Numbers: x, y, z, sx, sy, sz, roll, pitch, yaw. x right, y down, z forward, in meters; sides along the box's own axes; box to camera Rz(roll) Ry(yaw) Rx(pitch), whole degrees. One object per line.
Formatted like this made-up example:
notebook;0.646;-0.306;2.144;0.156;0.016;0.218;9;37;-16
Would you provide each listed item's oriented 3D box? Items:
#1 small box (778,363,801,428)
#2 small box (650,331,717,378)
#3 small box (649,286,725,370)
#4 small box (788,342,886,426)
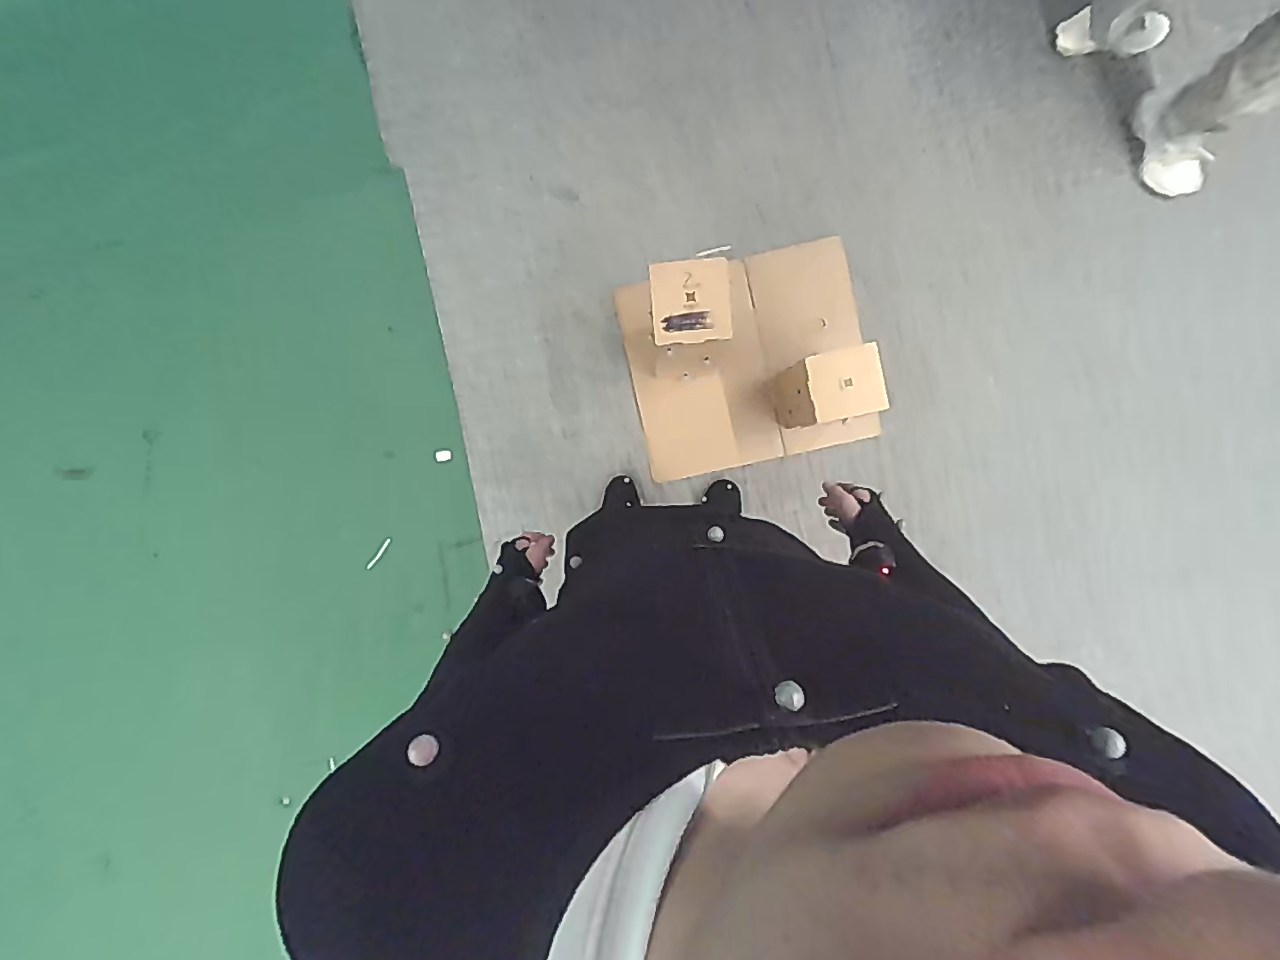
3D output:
small box;0.498;-0.247;1.529;0.179;0.176;0.168;-11;91;3
small box;0.119;-0.389;1.542;0.179;0.176;0.168;-4;91;3
small box;0.116;-0.380;1.376;0.179;0.176;0.168;-4;90;3
small box;0.491;-0.236;1.367;0.179;0.176;0.168;-12;91;5
